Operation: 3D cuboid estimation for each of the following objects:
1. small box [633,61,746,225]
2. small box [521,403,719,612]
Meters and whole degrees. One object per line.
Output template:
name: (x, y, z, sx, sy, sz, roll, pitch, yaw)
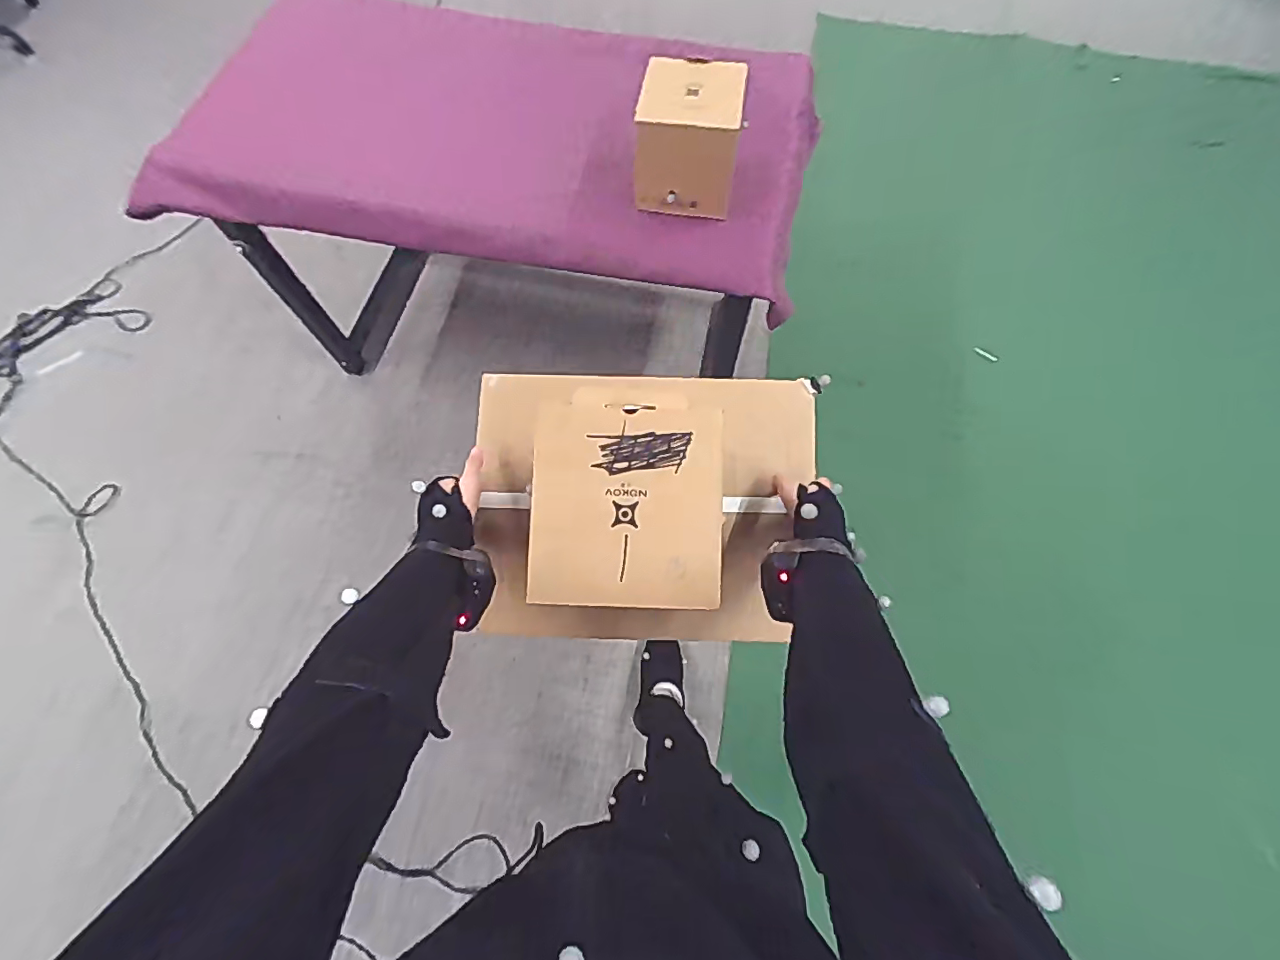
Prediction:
small box: (0.082, -0.581, 0.940, 0.168, 0.176, 0.179, 8, 65, 5)
small box: (-0.016, 0.031, 0.540, 0.168, 0.176, 0.179, 2, 84, 1)
